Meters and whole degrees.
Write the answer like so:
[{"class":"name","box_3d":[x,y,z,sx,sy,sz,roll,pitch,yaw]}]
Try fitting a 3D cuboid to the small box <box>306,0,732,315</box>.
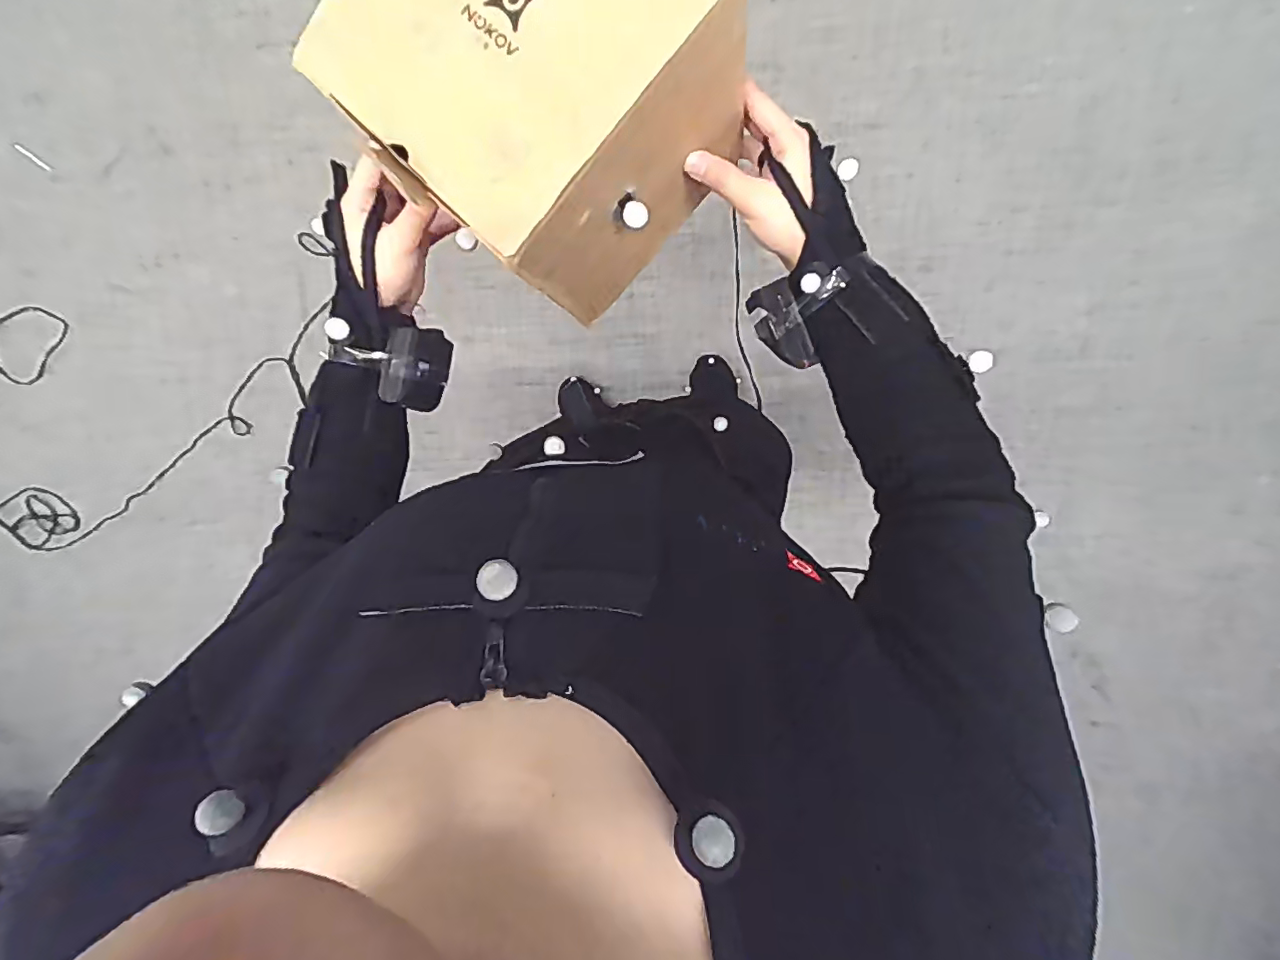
[{"class":"small box","box_3d":[-0.053,-0.234,0.348,0.168,0.176,0.179,44,101,3]}]
